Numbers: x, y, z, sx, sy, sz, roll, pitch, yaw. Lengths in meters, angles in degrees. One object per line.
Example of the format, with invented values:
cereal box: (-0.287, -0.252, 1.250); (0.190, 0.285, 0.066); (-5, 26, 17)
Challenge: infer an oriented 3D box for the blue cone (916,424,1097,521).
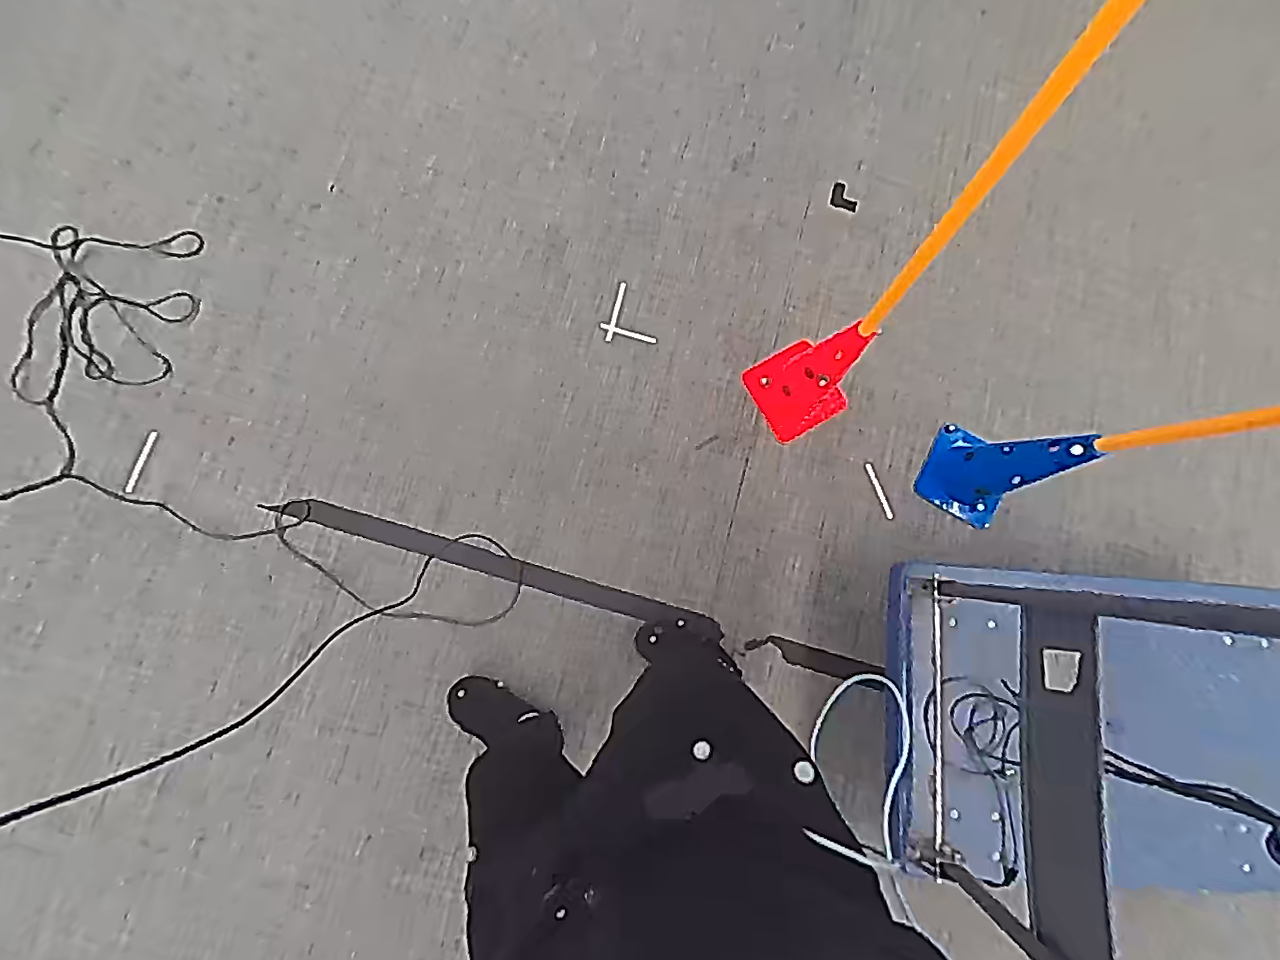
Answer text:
blue cone: (0.776, -0.043, 1.120); (0.192, 0.380, 0.193); (31, 81, 2)

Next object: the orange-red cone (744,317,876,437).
orange-red cone: (0.379, -0.242, 1.106); (0.198, 0.360, 0.199); (-28, 86, -7)
